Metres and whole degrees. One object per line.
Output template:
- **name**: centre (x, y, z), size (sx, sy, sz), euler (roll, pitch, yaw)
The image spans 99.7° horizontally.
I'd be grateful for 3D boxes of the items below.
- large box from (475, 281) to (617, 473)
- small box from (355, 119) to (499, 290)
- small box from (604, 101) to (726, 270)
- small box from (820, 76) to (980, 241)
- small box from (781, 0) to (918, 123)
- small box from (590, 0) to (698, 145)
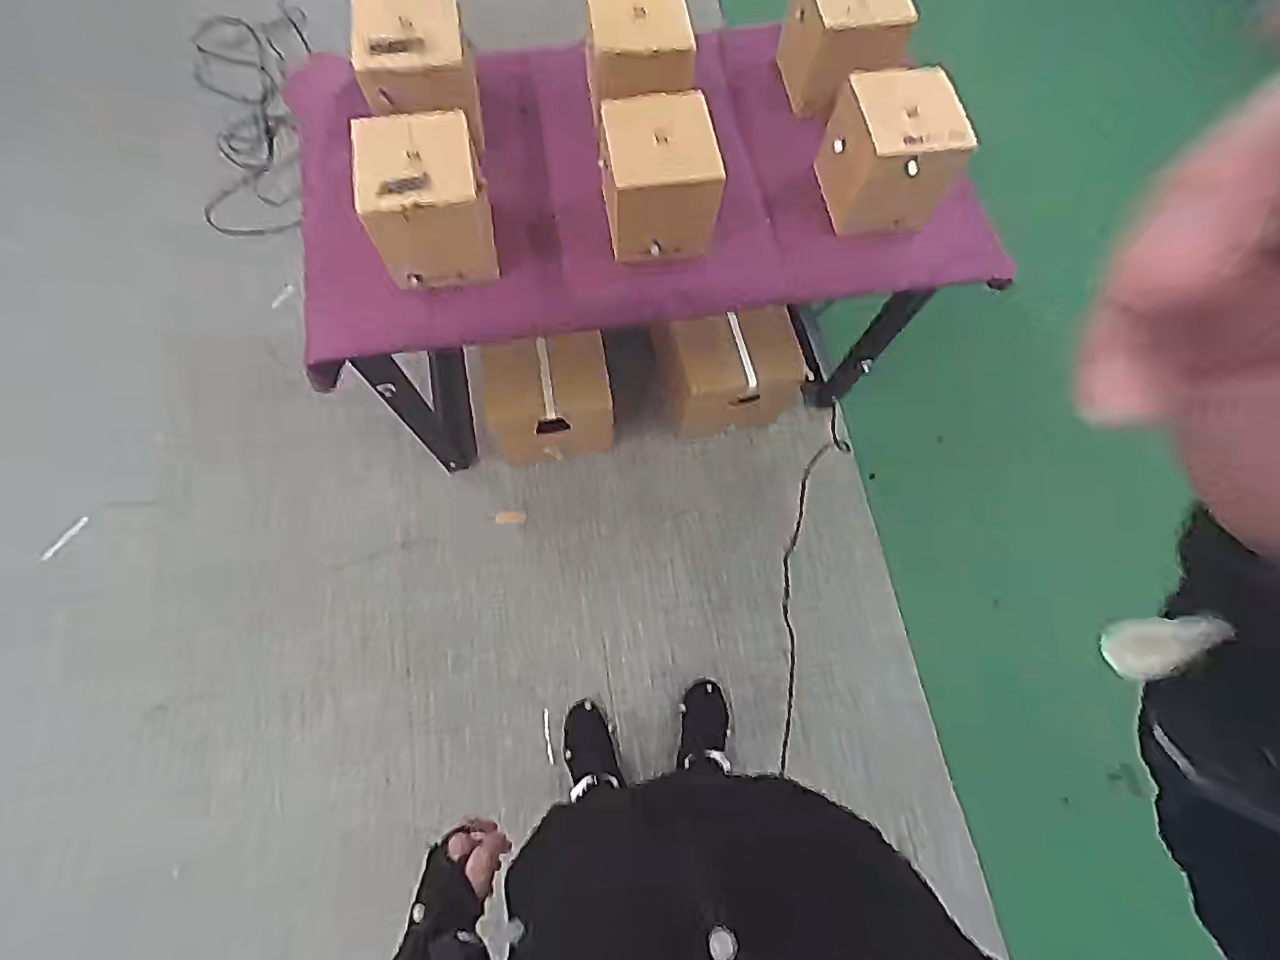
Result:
- **large box**: centre (-0.250, -0.274, 1.505), size (0.320, 0.320, 0.408), euler (-9, 71, -6)
- **small box**: centre (-0.326, -0.421, 0.851), size (0.168, 0.176, 0.179), euler (-10, 70, -6)
- **small box**: centre (0.031, -0.475, 0.885), size (0.168, 0.176, 0.179), euler (-8, 71, -4)
- **small box**: centre (0.425, -0.540, 0.920), size (0.168, 0.176, 0.179), euler (-8, 70, -3)
- **small box**: centre (0.376, -0.809, 1.007), size (0.168, 0.176, 0.179), euler (-8, 73, -3)
- **small box**: centre (-0.001, -0.734, 0.972), size (0.168, 0.176, 0.179), euler (-7, 73, -5)
